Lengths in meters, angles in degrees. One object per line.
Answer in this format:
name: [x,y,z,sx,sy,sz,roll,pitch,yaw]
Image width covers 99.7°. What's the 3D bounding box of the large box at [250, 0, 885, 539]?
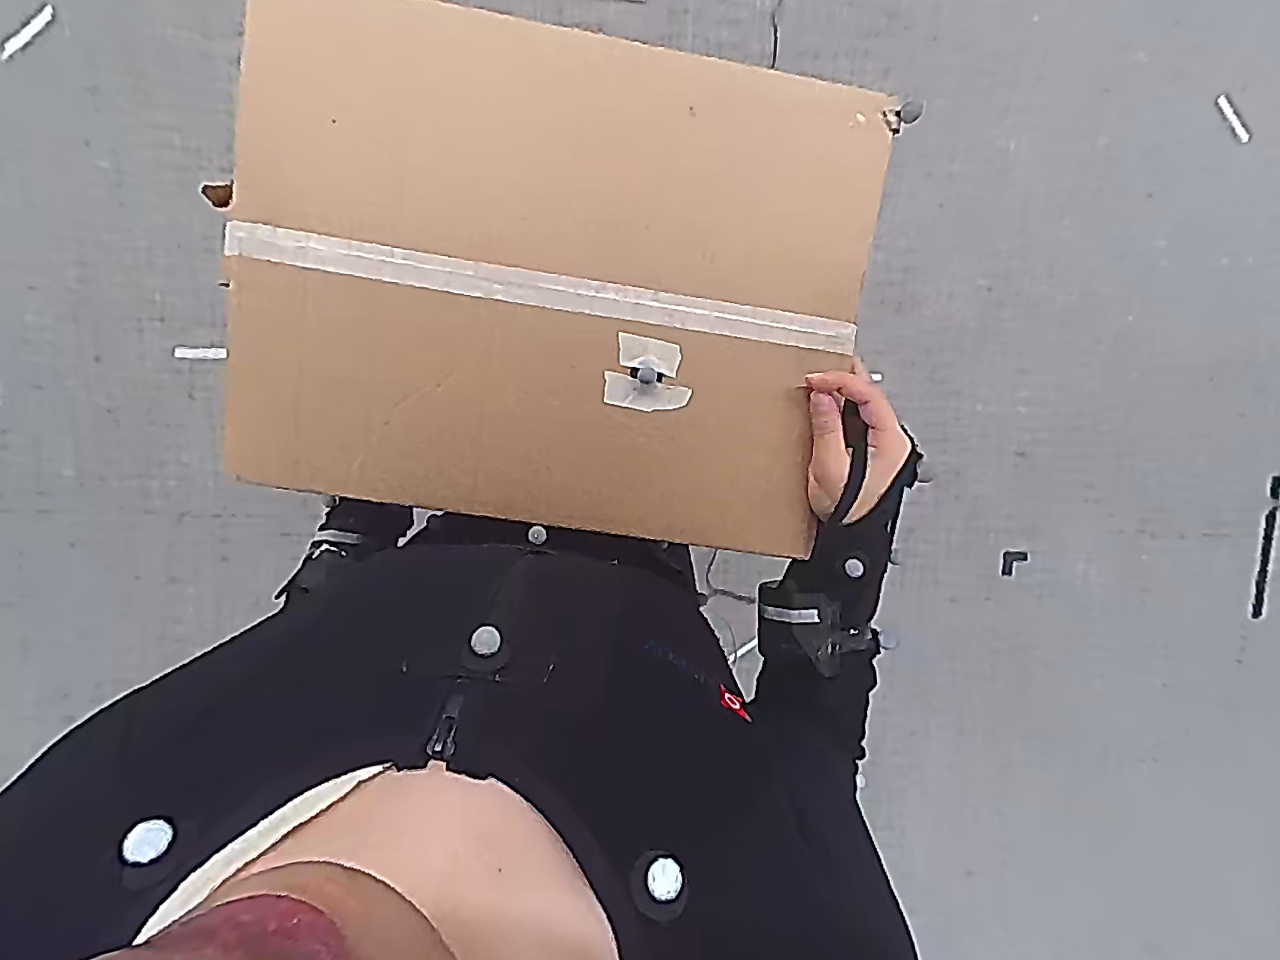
large box: [-0.061,-0.148,0.510,0.408,0.320,0.320,7,98,-5]
